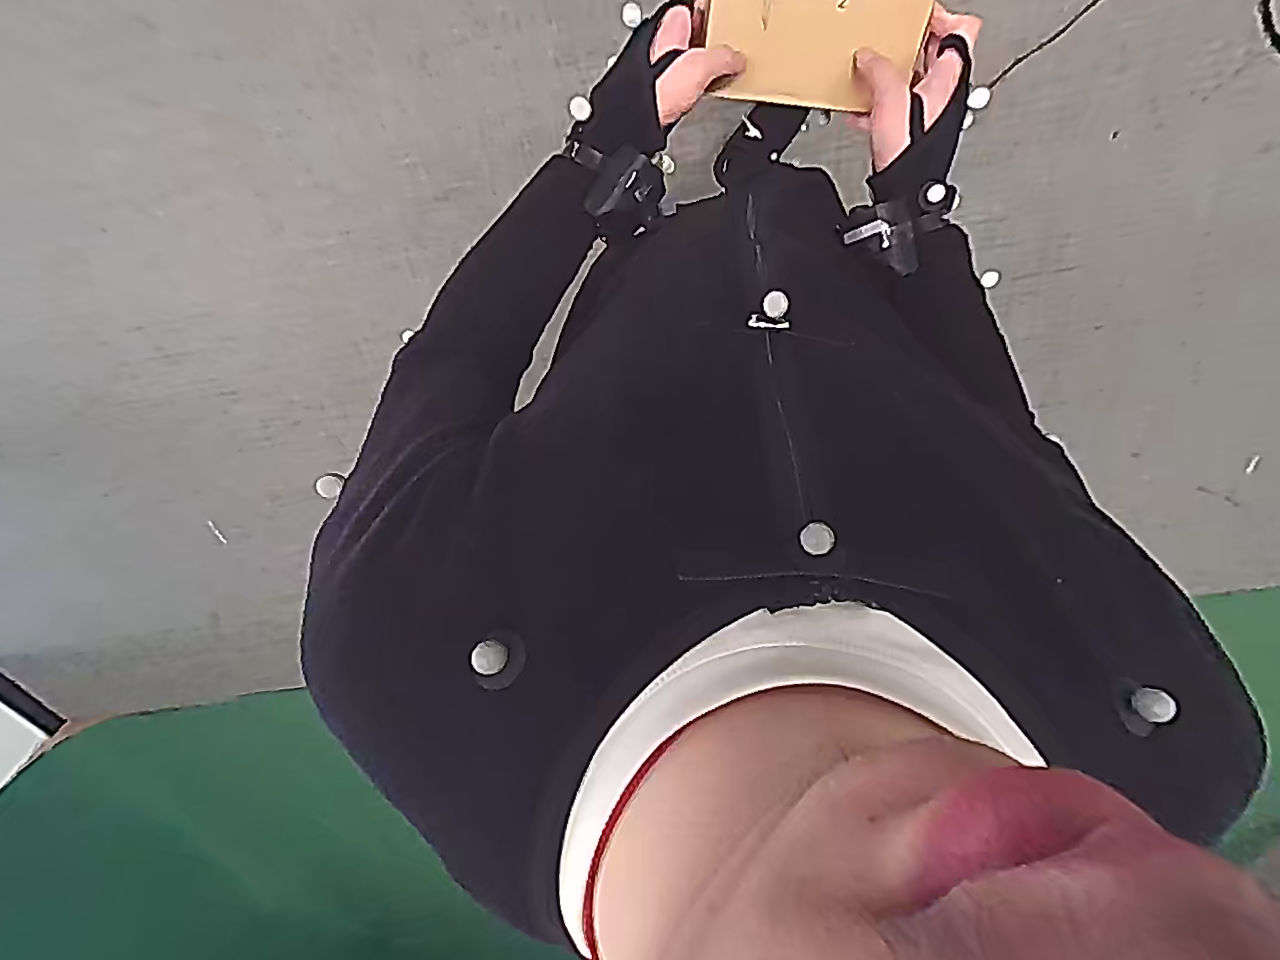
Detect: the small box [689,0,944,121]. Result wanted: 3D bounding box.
[{"bbox_3d":[0.144,-0.419,0.461,0.179,0.176,0.168,5,125,-3],"label":"small box"}]
